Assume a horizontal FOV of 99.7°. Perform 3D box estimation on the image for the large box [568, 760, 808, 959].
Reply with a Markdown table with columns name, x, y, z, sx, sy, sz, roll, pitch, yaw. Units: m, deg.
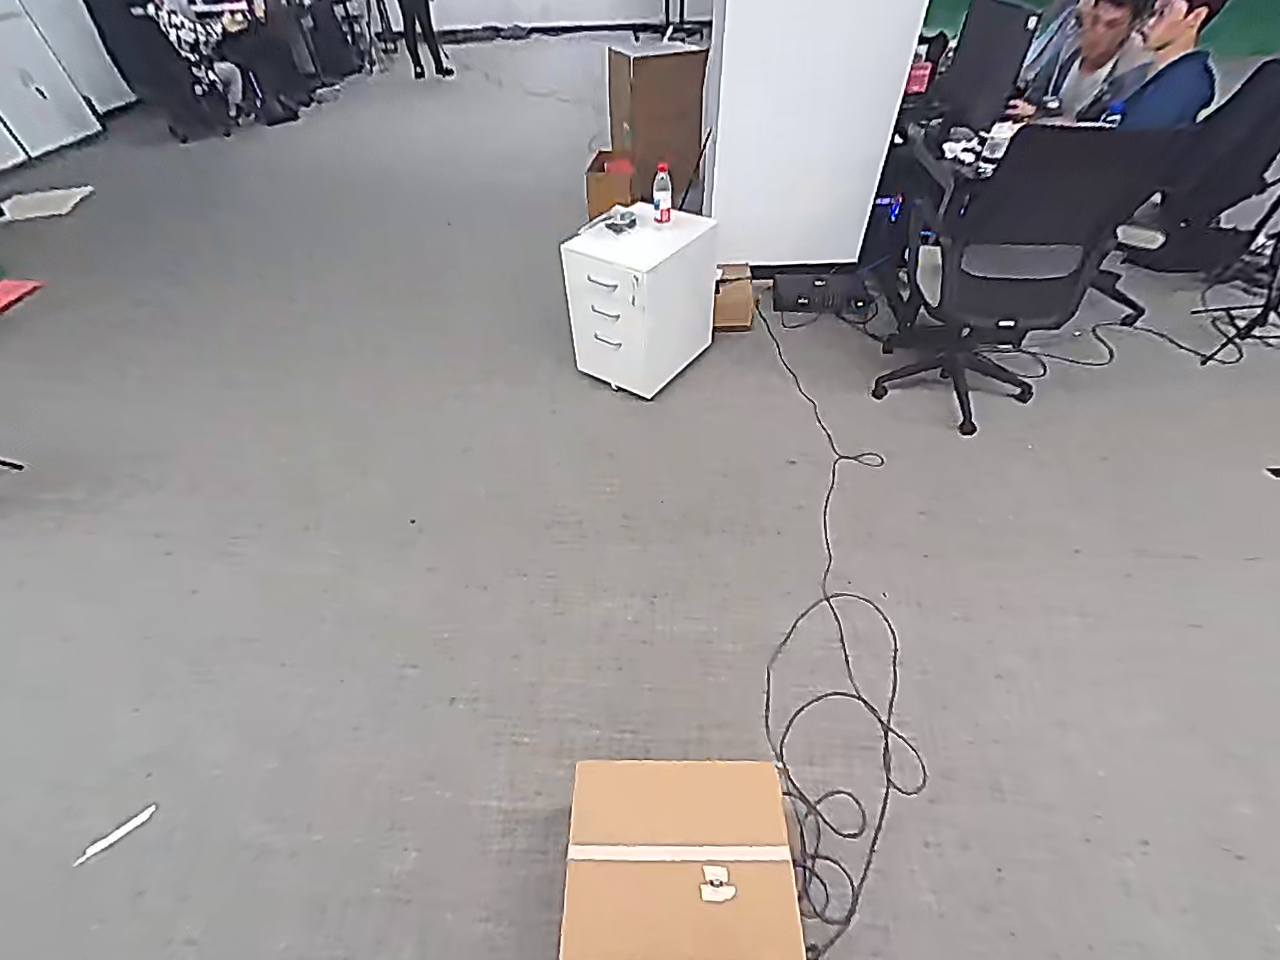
| name | x | y | z | sx | sy | sz | roll | pitch | yaw |
| --- | --- | --- | --- | --- | --- | --- | --- | --- | --- |
| large box | 0.083 | 0.784 | 1.096 | 0.408 | 0.320 | 0.320 | -1 | 47 | 2 |
